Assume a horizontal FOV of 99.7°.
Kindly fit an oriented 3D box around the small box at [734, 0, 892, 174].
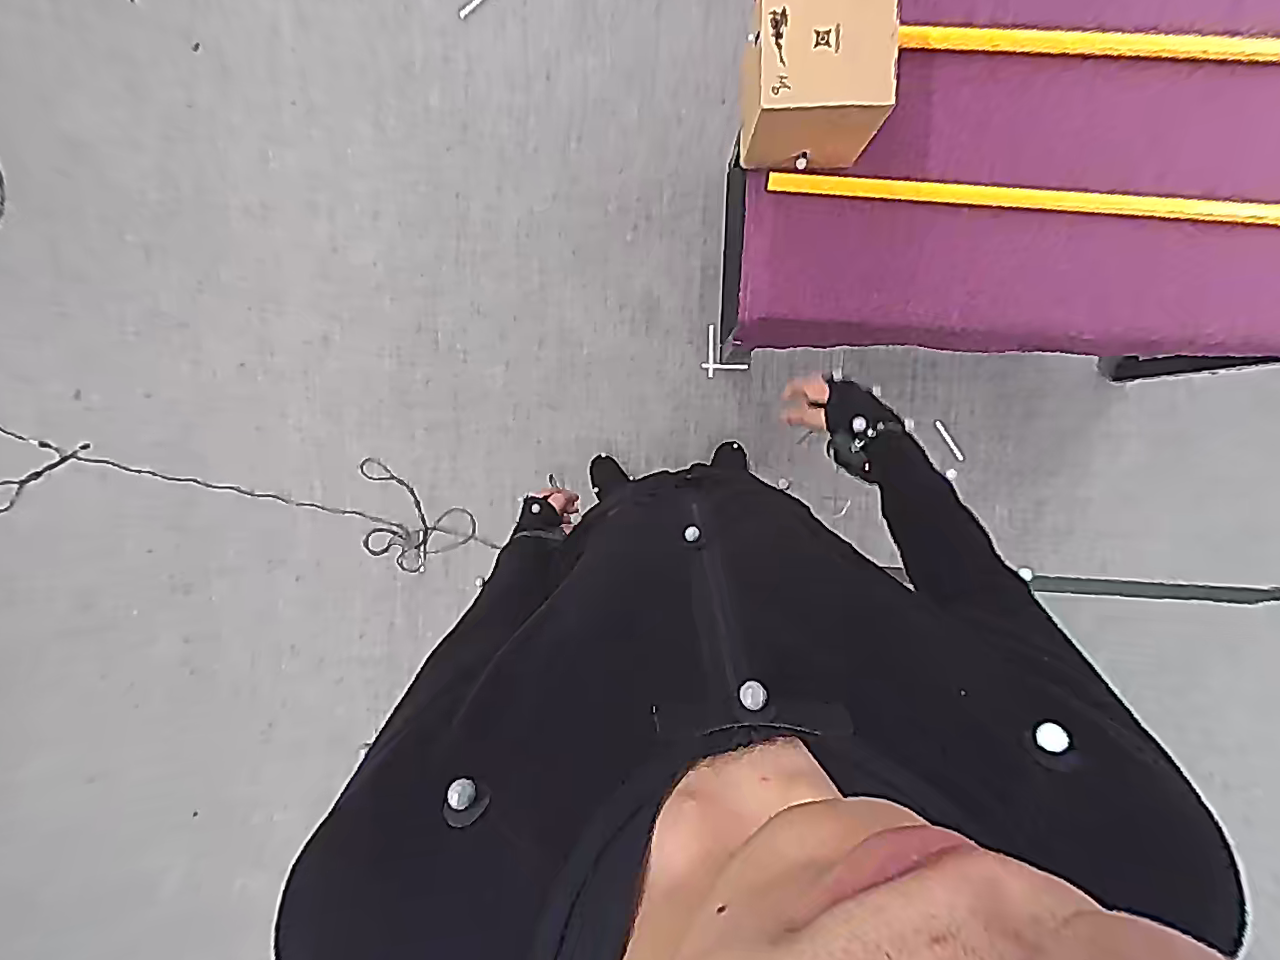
[{"bbox_3d":[0.239,-0.568,0.785,0.179,0.176,0.168,0,96,1],"label":"small box"}]
